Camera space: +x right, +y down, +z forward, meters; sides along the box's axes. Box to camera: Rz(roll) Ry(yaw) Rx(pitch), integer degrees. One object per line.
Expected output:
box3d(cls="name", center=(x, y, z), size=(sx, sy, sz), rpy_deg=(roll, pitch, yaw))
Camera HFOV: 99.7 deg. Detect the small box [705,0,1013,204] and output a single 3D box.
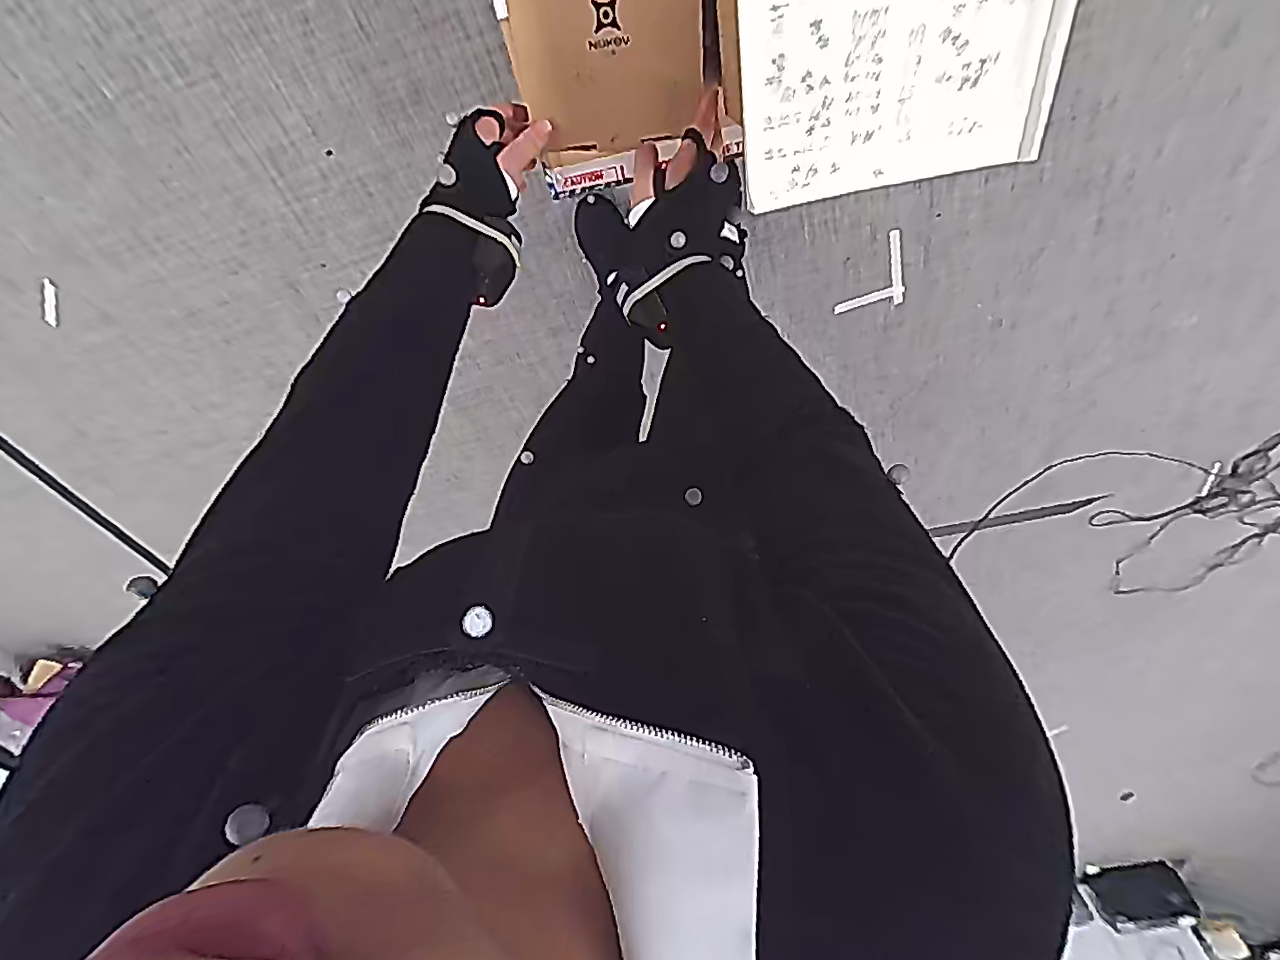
box3d(cls="small box", center=(0.142, -0.330, 0.396), size=(0.168, 0.176, 0.179), rpy_deg=(-9, 131, 5))
